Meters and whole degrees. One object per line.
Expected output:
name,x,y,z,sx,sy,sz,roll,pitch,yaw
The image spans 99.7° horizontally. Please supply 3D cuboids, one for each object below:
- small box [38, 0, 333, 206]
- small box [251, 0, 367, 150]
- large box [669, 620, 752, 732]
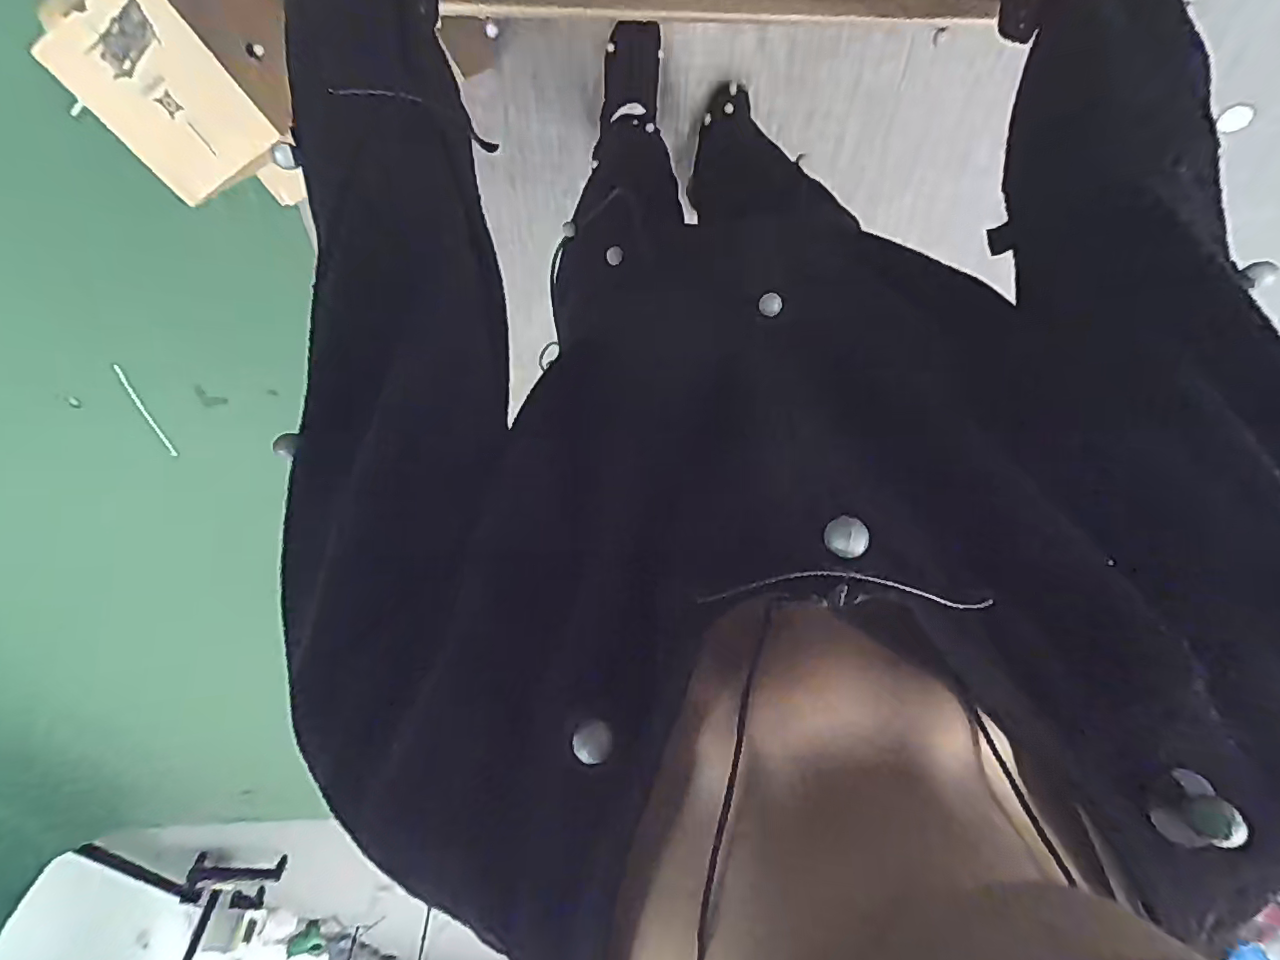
small box,-0.521,-0.473,0.652,0.168,0.176,0.179,-22,130,17
small box,-0.533,-0.589,0.767,0.168,0.176,0.179,-26,128,20
large box,0.293,0.869,2.391,0.320,0.320,0.408,-1,129,-2
